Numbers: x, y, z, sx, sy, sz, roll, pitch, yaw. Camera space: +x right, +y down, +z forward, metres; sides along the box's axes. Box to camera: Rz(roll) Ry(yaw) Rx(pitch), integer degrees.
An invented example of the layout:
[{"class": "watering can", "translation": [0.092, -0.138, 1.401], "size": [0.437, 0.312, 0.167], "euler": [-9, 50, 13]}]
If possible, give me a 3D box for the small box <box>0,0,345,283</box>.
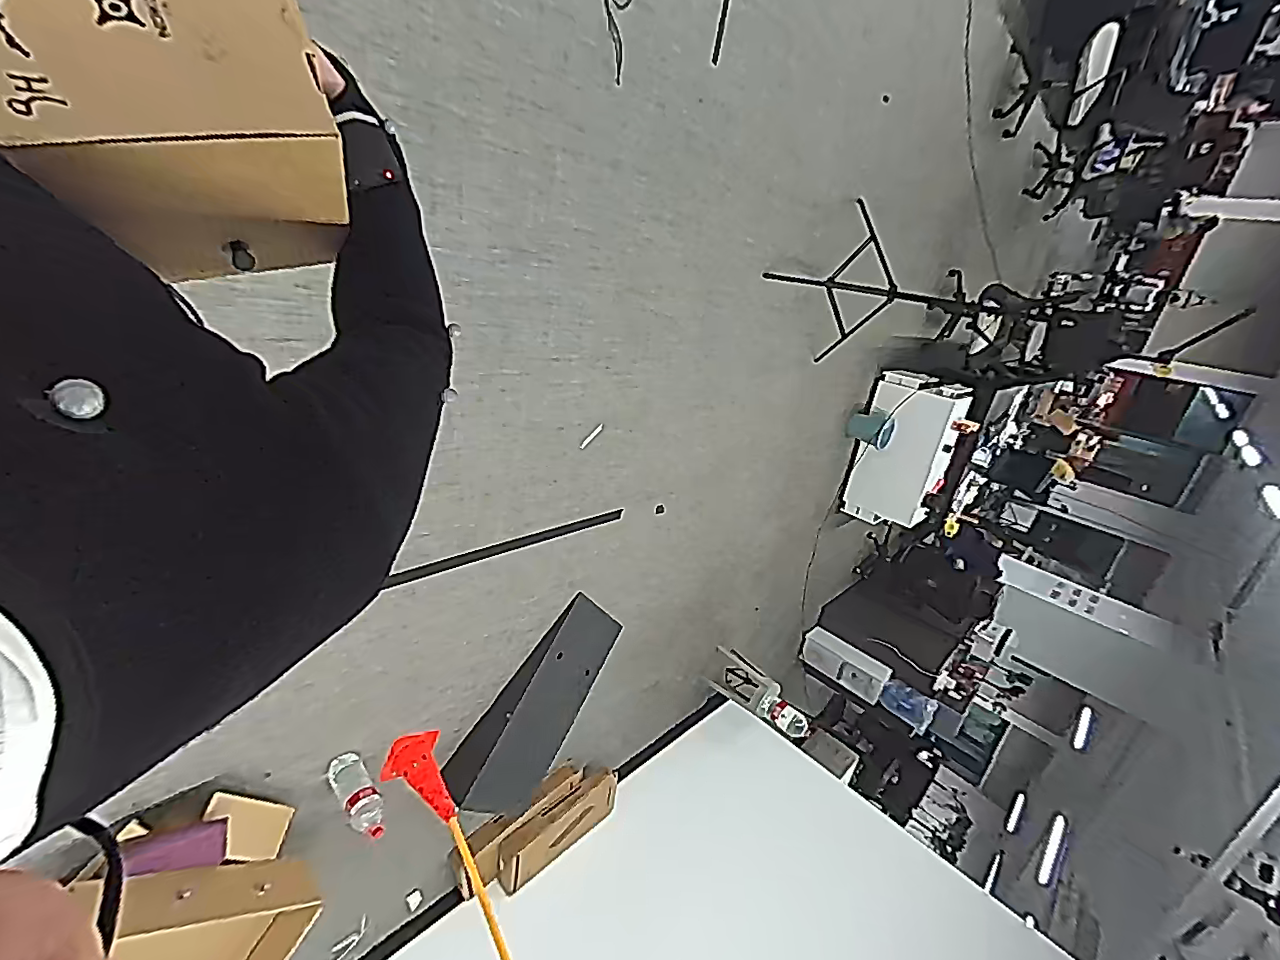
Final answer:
[{"class": "small box", "translation": [-0.346, -0.275, 0.415], "size": [0.179, 0.176, 0.168], "euler": [-21, 90, -27]}]
